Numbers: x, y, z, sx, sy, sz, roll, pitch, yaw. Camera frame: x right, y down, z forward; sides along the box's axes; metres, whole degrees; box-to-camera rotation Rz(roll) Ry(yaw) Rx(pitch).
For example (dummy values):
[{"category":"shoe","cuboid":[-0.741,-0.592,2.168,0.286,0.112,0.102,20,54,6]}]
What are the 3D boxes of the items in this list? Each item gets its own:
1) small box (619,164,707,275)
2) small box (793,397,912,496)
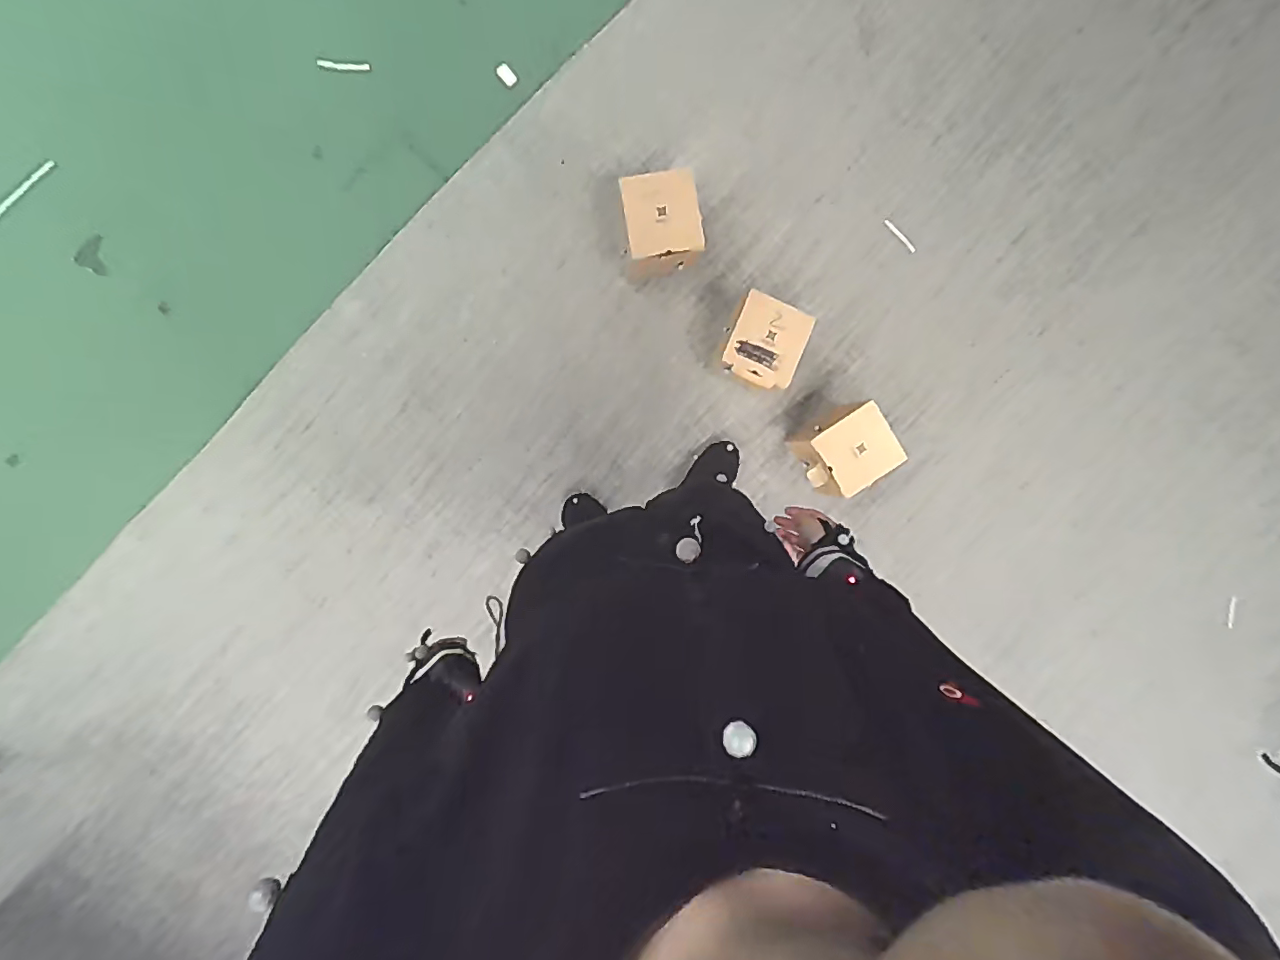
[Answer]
[{"category":"small box","cuboid":[0.047,-0.585,1.240,0.168,0.176,0.179,-11,93,-4]},{"category":"small box","cuboid":[0.503,-0.082,1.305,0.179,0.176,0.168,-34,96,-1]}]
